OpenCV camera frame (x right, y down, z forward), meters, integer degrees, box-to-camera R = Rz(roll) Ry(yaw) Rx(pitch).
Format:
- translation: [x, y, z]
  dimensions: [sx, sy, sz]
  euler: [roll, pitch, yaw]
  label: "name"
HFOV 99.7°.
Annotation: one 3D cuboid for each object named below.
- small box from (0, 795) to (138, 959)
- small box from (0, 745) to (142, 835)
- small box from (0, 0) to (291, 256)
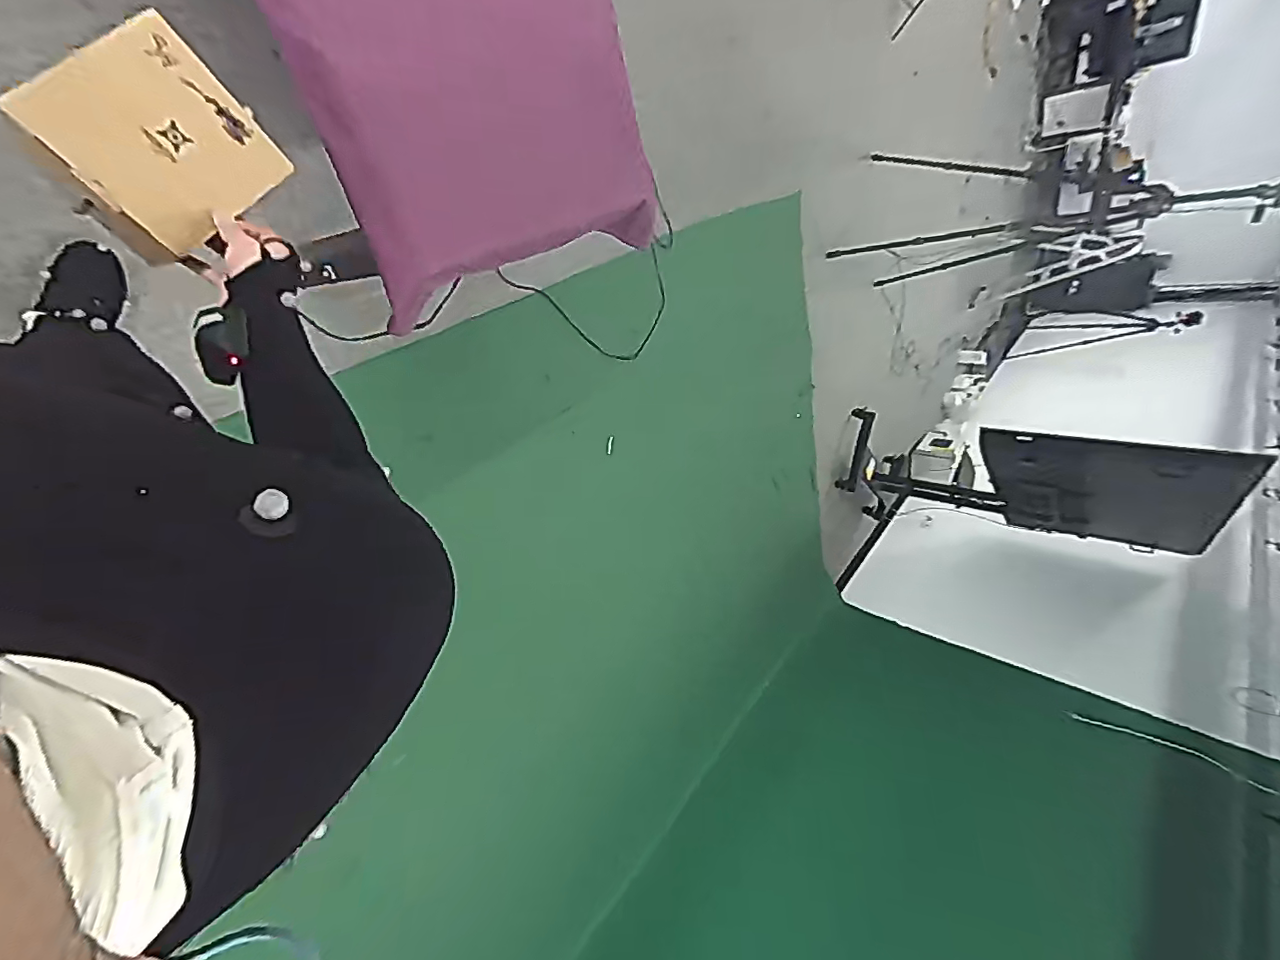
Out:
- translation: [-1.036, 0.698, 0.946]
  dimensions: [0.168, 0.176, 0.179]
  euler: [-43, 127, -29]
  label: "small box"
- translation: [-1.142, 0.660, 1.065]
  dimensions: [0.168, 0.176, 0.179]
  euler: [-38, 126, -32]
  label: "small box"
- translation: [-0.545, -0.373, 0.605]
  dimensions: [0.179, 0.176, 0.168]
  euler: [-56, 137, -19]
  label: "small box"
